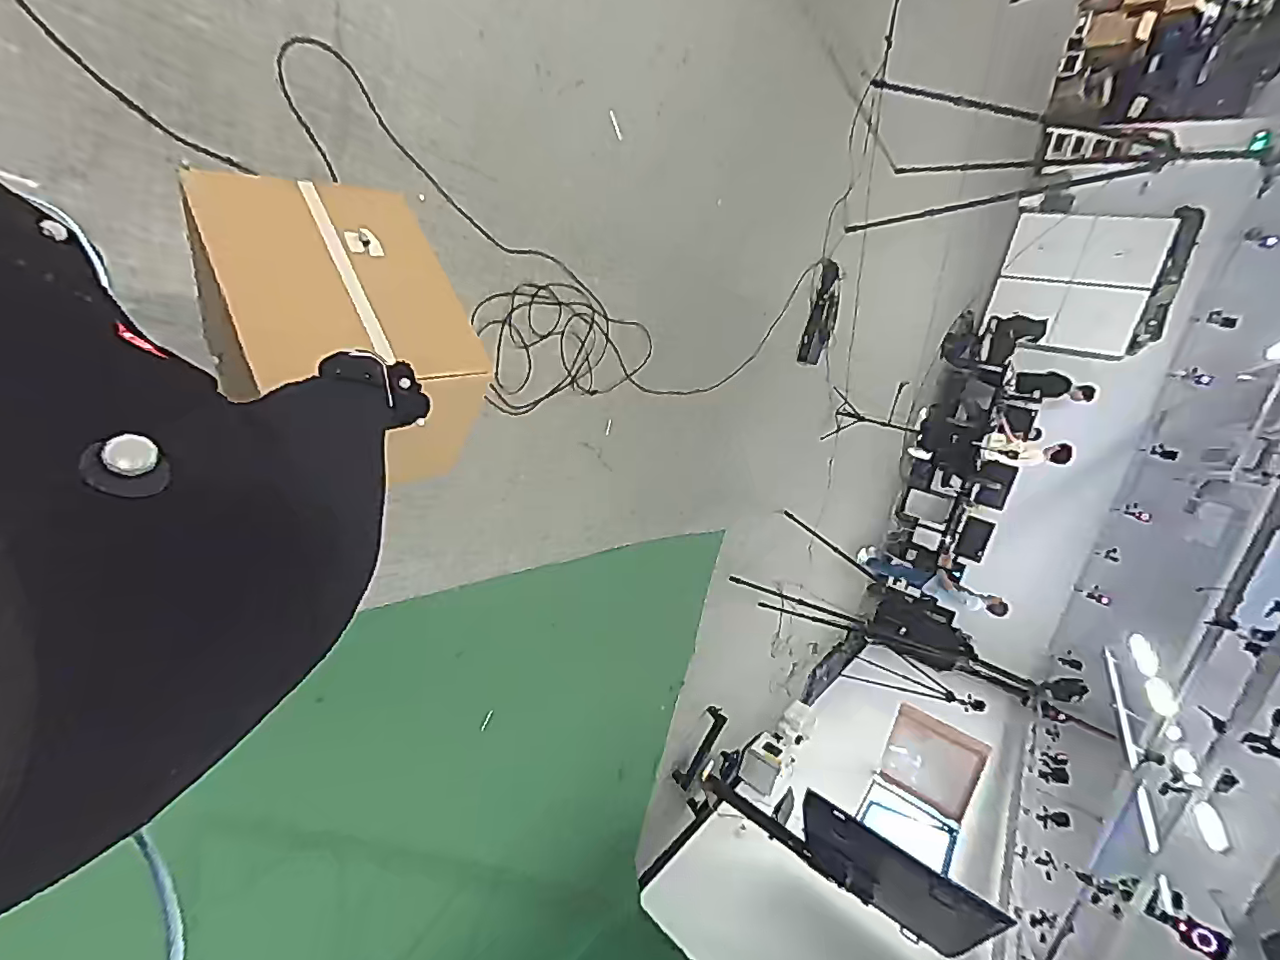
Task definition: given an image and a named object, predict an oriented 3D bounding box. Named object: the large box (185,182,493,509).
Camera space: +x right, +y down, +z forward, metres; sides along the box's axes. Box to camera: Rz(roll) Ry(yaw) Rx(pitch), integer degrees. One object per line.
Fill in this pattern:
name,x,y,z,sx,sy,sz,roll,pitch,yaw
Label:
large box,-0.509,-0.223,0.923,0.320,0.408,0.320,-17,158,-41
